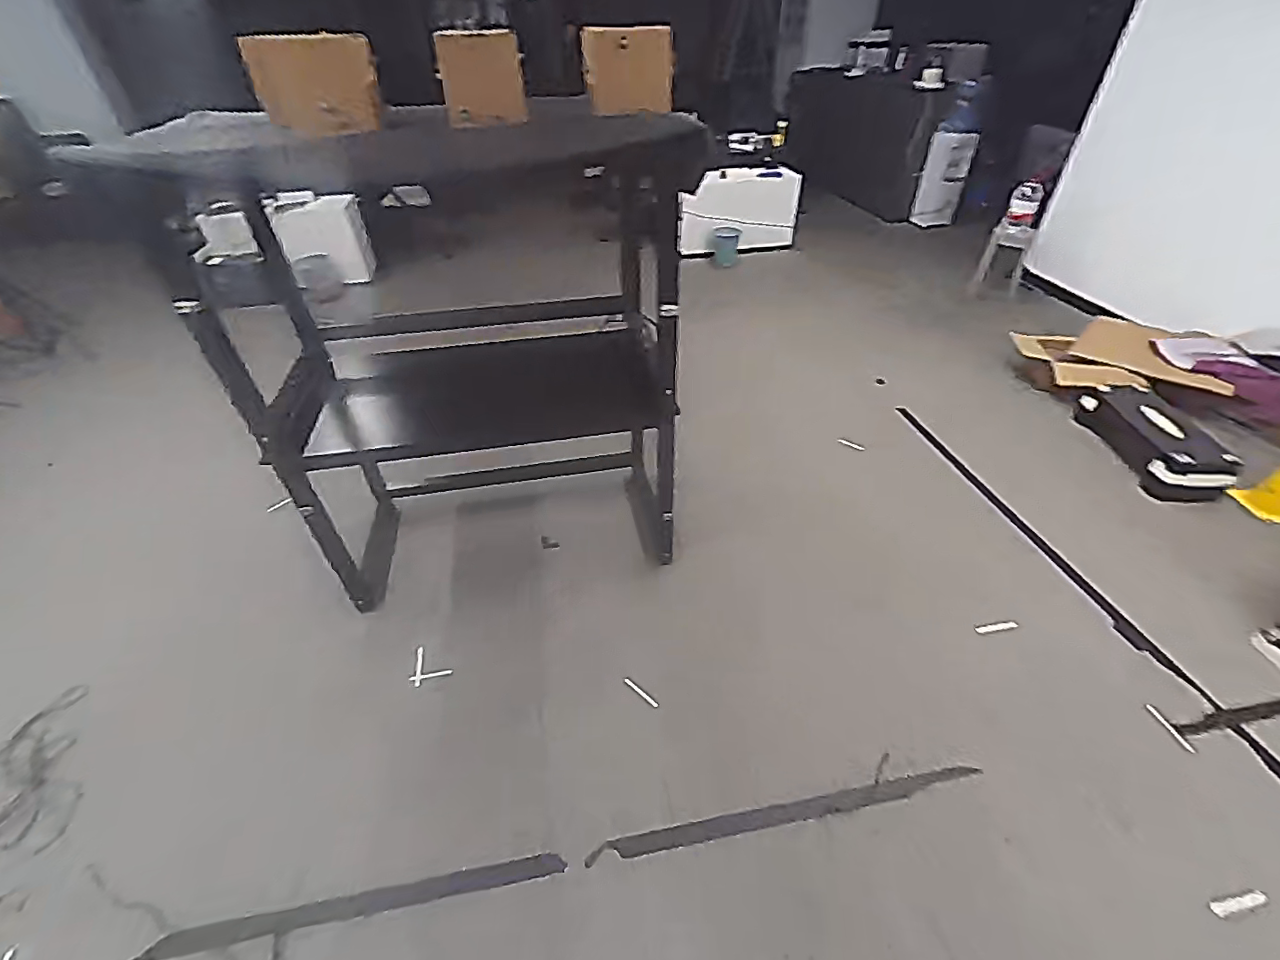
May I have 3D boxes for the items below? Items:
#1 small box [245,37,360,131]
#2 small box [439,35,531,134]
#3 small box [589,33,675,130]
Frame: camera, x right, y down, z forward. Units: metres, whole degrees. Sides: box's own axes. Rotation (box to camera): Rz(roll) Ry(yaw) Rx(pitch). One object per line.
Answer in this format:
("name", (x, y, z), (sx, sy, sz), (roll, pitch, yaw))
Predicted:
("small box", (-0.803, -0.960, 1.310), (0.179, 0.176, 0.168), (-9, 41, -10))
("small box", (-0.340, -0.883, 1.212), (0.168, 0.176, 0.179), (-9, 40, -9))
("small box", (-0.022, -0.905, 1.229), (0.168, 0.176, 0.179), (-9, 40, -8))
